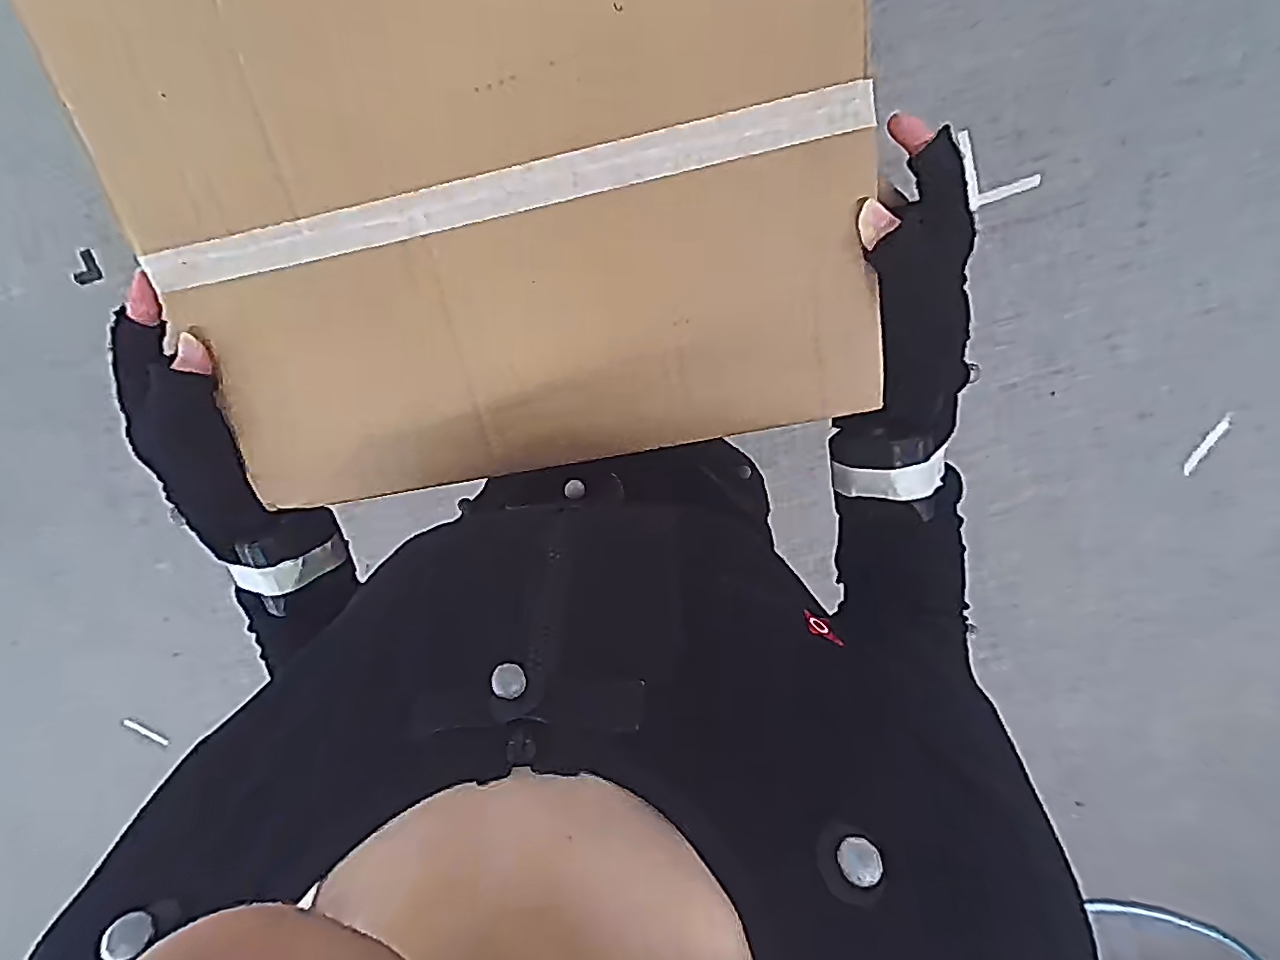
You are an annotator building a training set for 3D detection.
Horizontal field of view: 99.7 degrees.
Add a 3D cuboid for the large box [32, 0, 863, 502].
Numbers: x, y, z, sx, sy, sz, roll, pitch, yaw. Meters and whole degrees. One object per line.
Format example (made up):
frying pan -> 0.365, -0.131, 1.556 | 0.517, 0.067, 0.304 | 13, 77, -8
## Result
large box -> -0.079, -0.214, 0.437 | 0.408, 0.320, 0.320 | -10, 111, 7
